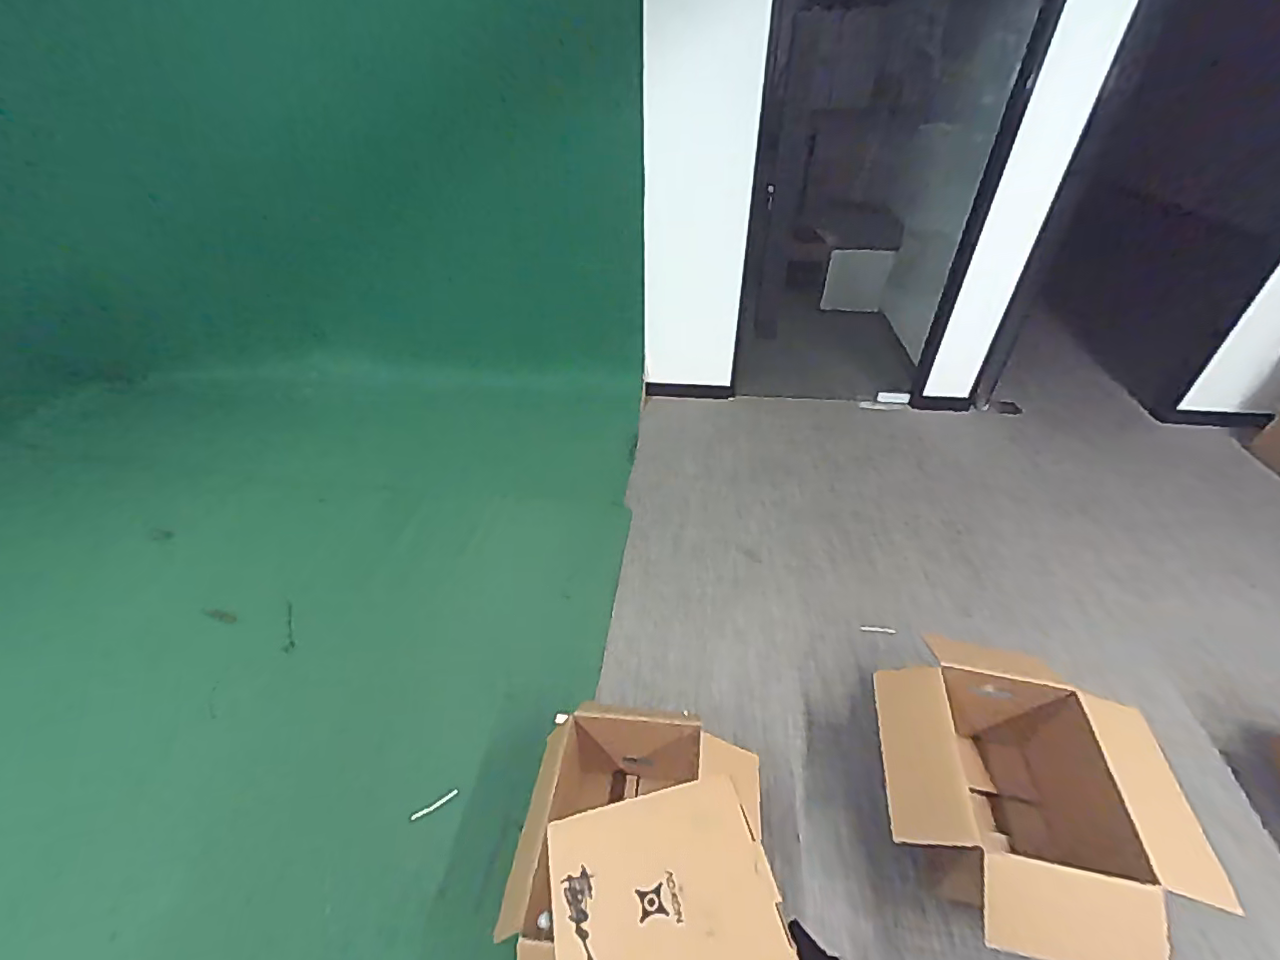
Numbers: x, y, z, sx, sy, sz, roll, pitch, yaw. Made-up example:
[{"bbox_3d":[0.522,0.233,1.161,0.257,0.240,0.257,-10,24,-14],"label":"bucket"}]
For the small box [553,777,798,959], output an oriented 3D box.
[{"bbox_3d":[0.025,0.401,0.474,0.179,0.176,0.168,-10,32,-7],"label":"small box"}]
